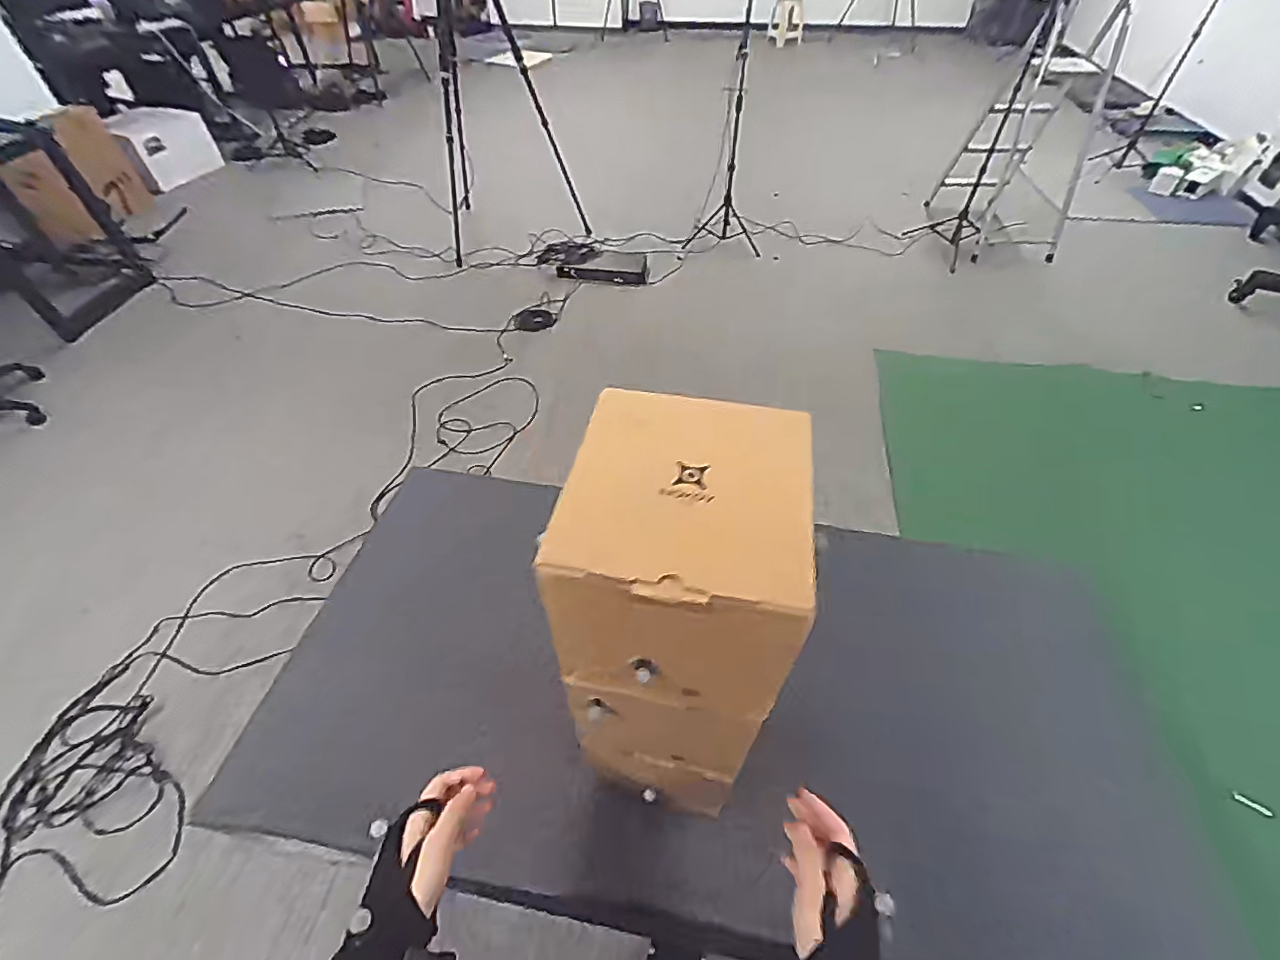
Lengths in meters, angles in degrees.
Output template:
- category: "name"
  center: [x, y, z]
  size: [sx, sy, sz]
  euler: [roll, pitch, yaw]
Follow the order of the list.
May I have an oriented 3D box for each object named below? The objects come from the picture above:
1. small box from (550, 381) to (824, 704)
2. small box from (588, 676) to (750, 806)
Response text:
- category: "small box"
  center: [0.039, 0.049, 0.427]
  size: [0.168, 0.176, 0.179]
  euler: [8, 48, 7]
- category: "small box"
  center: [0.044, 0.270, 0.668]
  size: [0.168, 0.176, 0.179]
  euler: [11, 49, 11]
